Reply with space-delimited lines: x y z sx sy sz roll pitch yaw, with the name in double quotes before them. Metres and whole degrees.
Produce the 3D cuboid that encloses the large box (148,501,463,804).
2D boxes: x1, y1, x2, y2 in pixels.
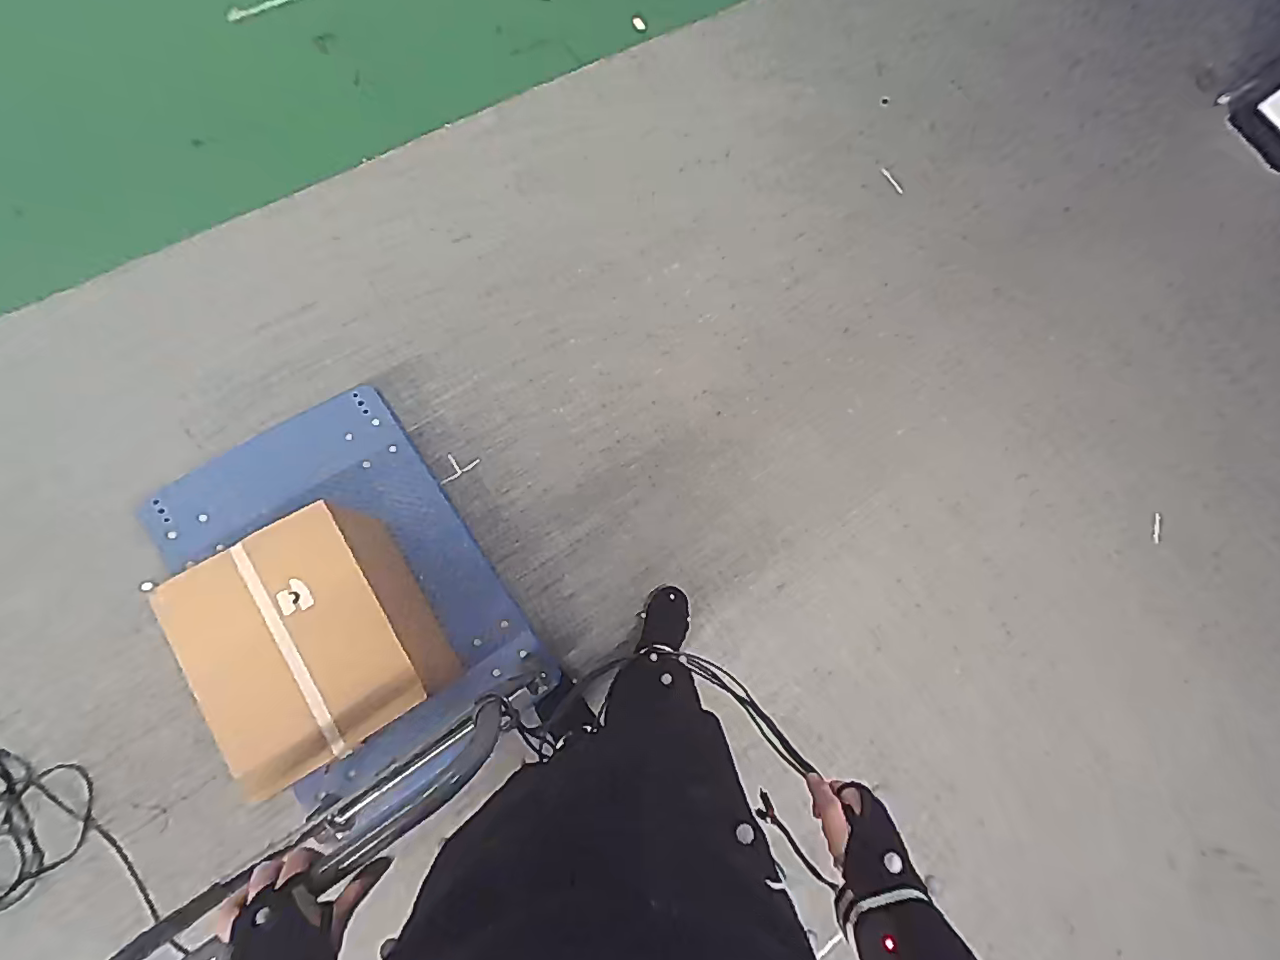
"large box" -0.604 0.306 1.050 0.320 0.320 0.408 -30 82 -12
